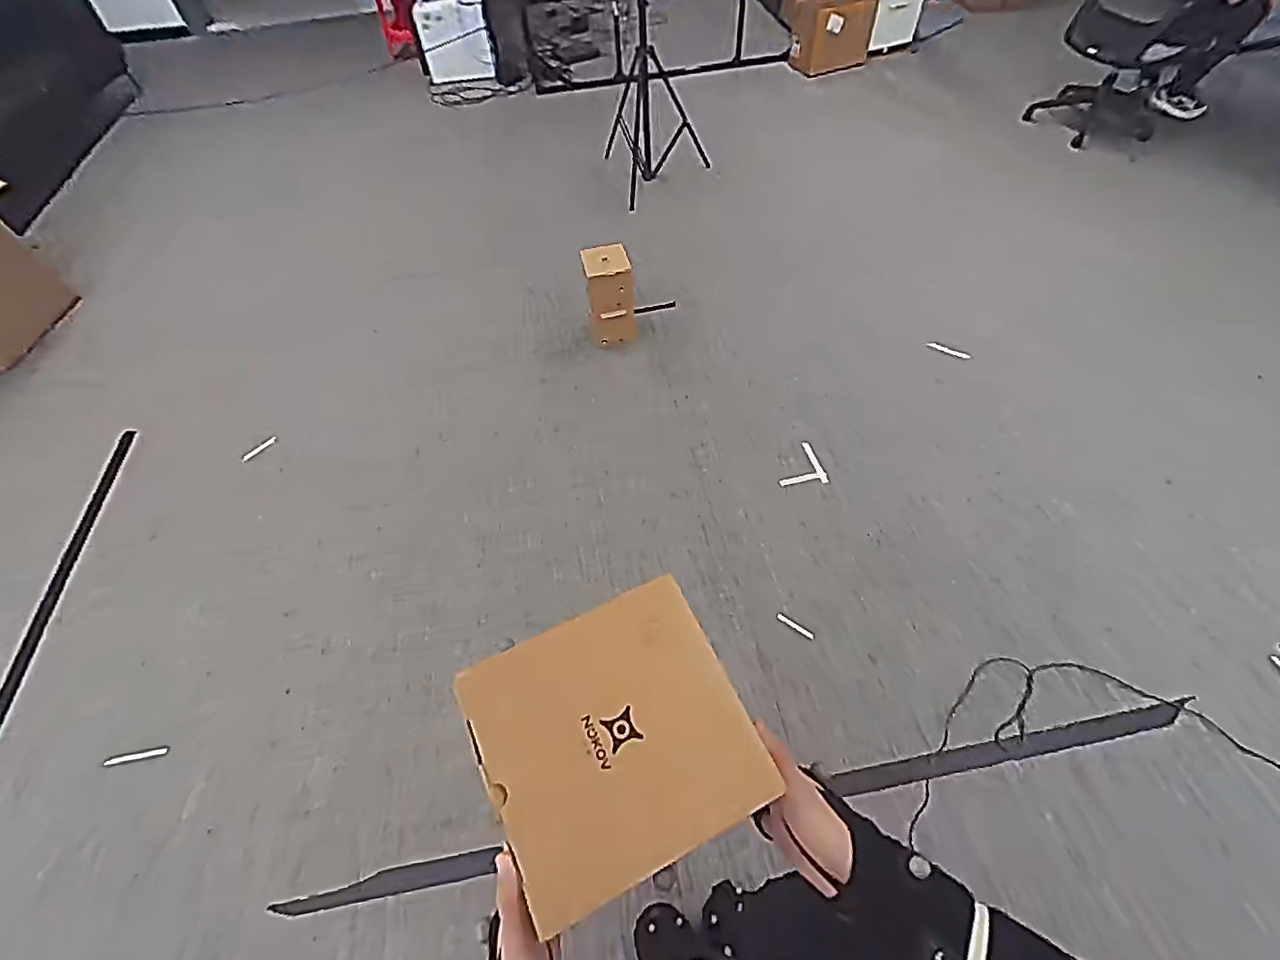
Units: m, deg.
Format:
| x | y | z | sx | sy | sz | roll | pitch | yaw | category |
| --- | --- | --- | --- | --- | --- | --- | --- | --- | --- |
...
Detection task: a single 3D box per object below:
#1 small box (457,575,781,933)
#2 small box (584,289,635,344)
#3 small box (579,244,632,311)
| x | y | z | sx | sy | sz | roll | pitch | yaw | category |
| --- | --- | --- | --- | --- | --- | --- | --- | --- | --- |
| -0.020 | 0.203 | 0.438 | 0.179 | 0.176 | 0.168 | -24 | 67 | -12 | small box |
| -0.121 | -0.668 | 2.181 | 0.168 | 0.176 | 0.179 | -13 | 55 | -5 | small box |
| -0.128 | -0.761 | 2.048 | 0.168 | 0.176 | 0.179 | -13 | 55 | -6 | small box |
